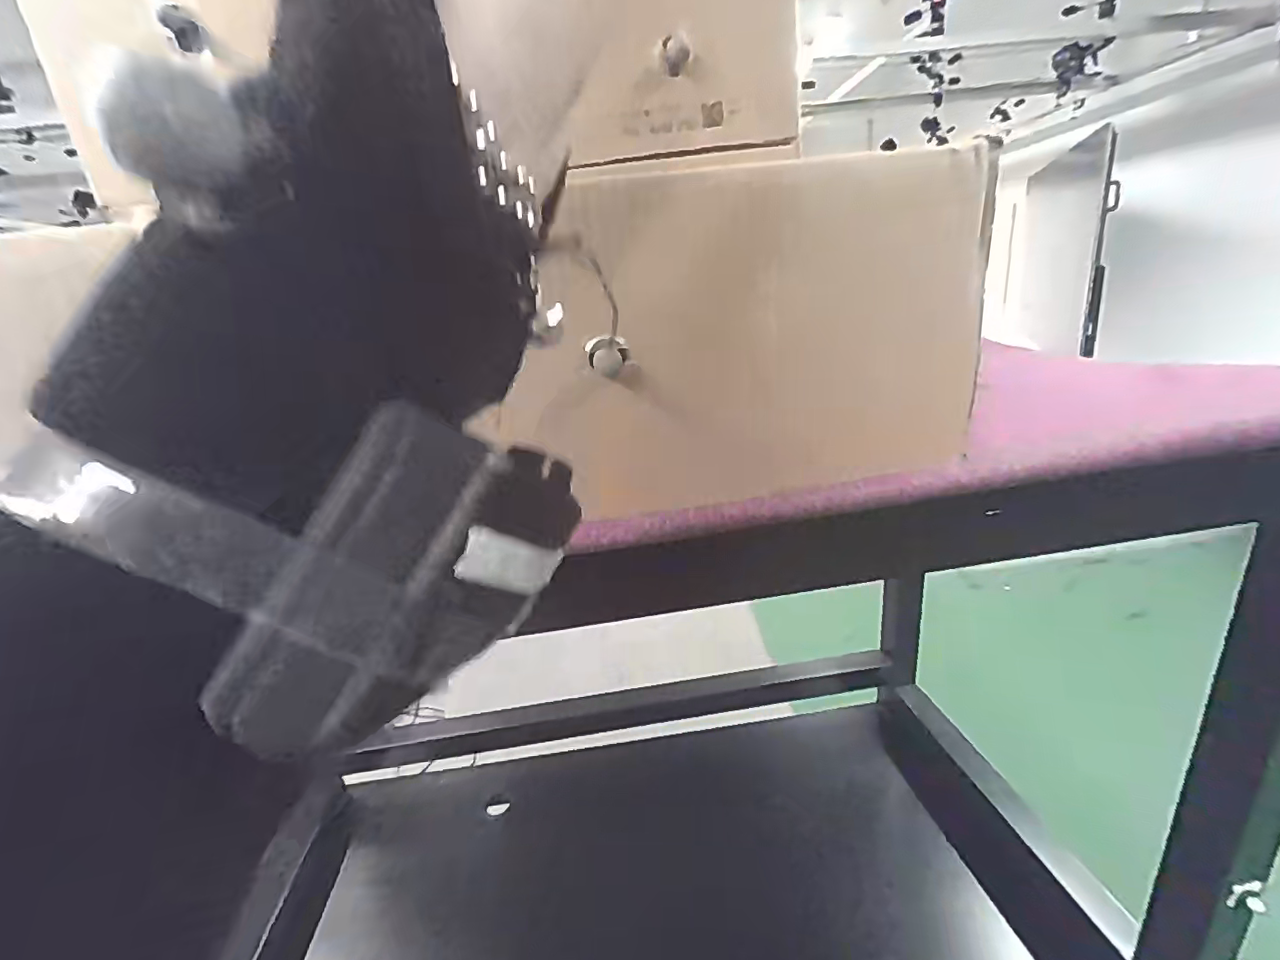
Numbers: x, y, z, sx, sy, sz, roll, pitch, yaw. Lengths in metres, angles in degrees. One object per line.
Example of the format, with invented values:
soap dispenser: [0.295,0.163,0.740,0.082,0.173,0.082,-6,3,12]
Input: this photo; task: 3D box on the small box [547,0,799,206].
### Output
small box: [0.019,-0.327,0.428,0.168,0.176,0.179,-8,19,-1]
